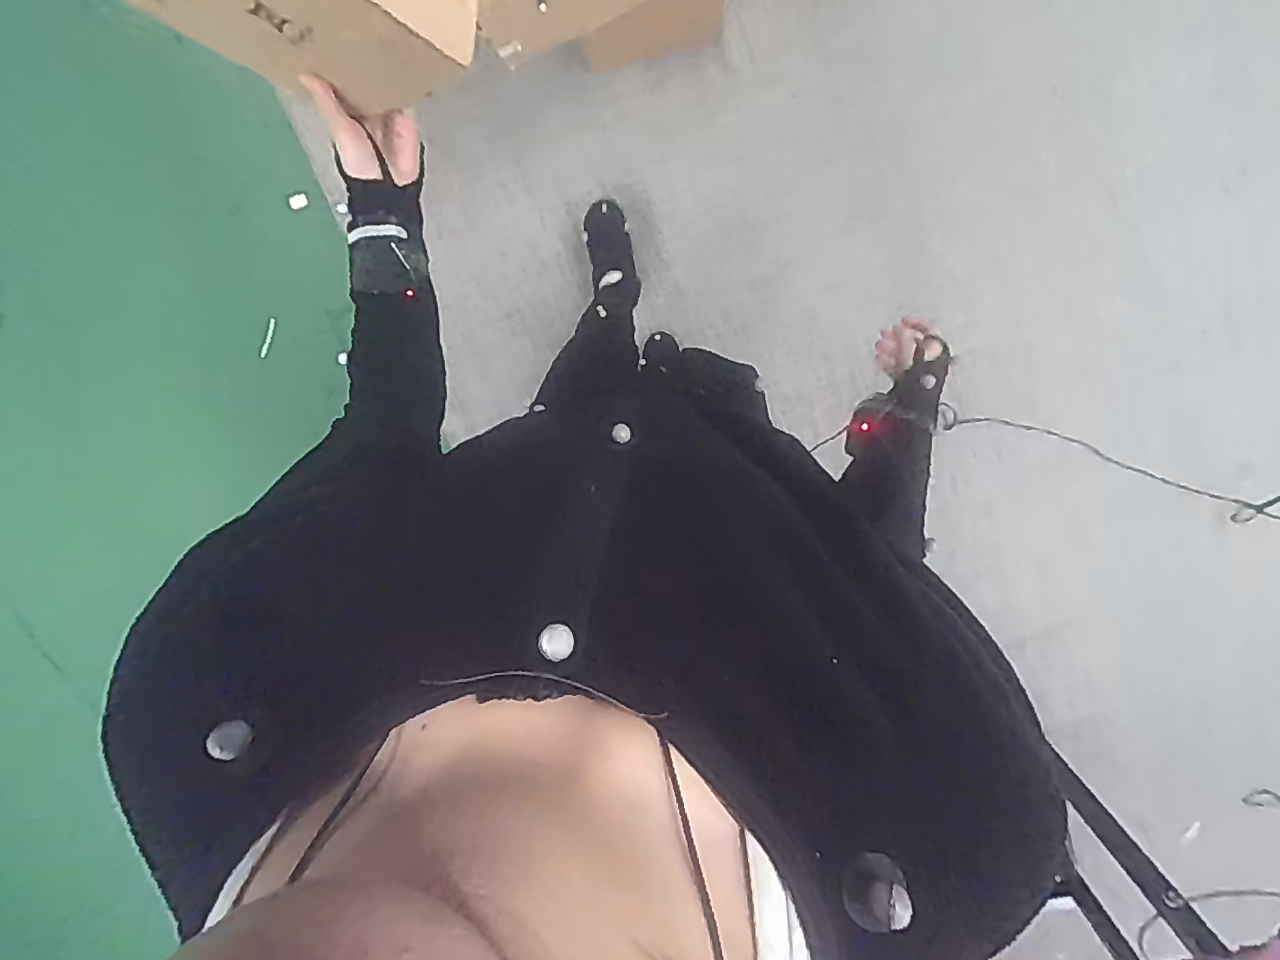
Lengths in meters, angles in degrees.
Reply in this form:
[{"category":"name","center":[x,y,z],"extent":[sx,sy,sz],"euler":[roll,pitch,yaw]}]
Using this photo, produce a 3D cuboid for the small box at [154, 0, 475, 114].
[{"category":"small box","center":[-0.213,-0.383,0.342],"extent":[0.168,0.179,0.176],"euler":[11,94,36]}]
